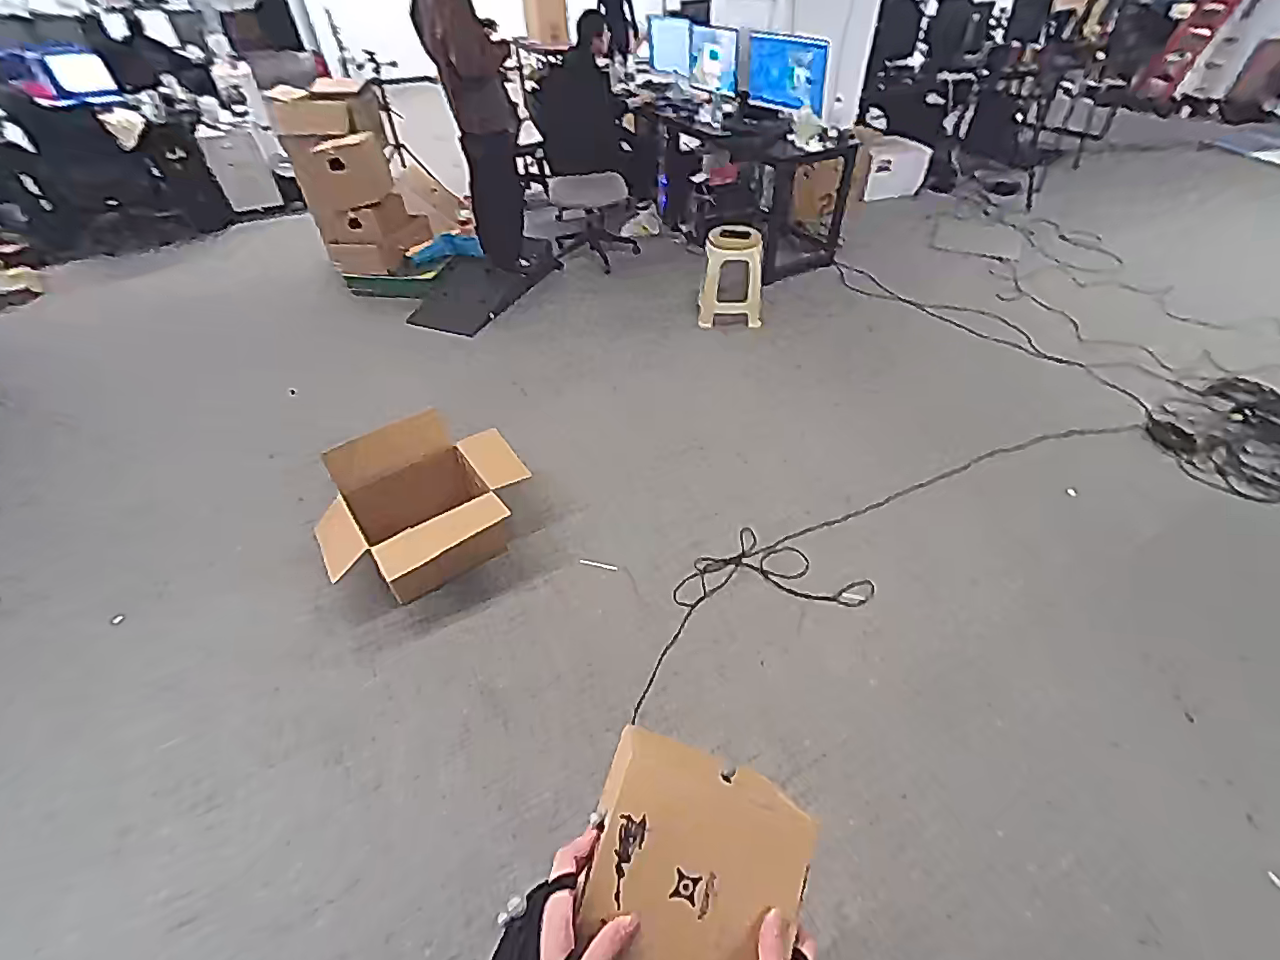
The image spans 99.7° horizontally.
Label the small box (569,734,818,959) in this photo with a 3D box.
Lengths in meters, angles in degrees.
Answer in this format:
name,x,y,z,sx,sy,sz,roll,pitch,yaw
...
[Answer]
name,x,y,z,sx,sy,sz,roll,pitch,yaw
small box,0.045,0.370,0.531,0.179,0.176,0.168,19,73,2
